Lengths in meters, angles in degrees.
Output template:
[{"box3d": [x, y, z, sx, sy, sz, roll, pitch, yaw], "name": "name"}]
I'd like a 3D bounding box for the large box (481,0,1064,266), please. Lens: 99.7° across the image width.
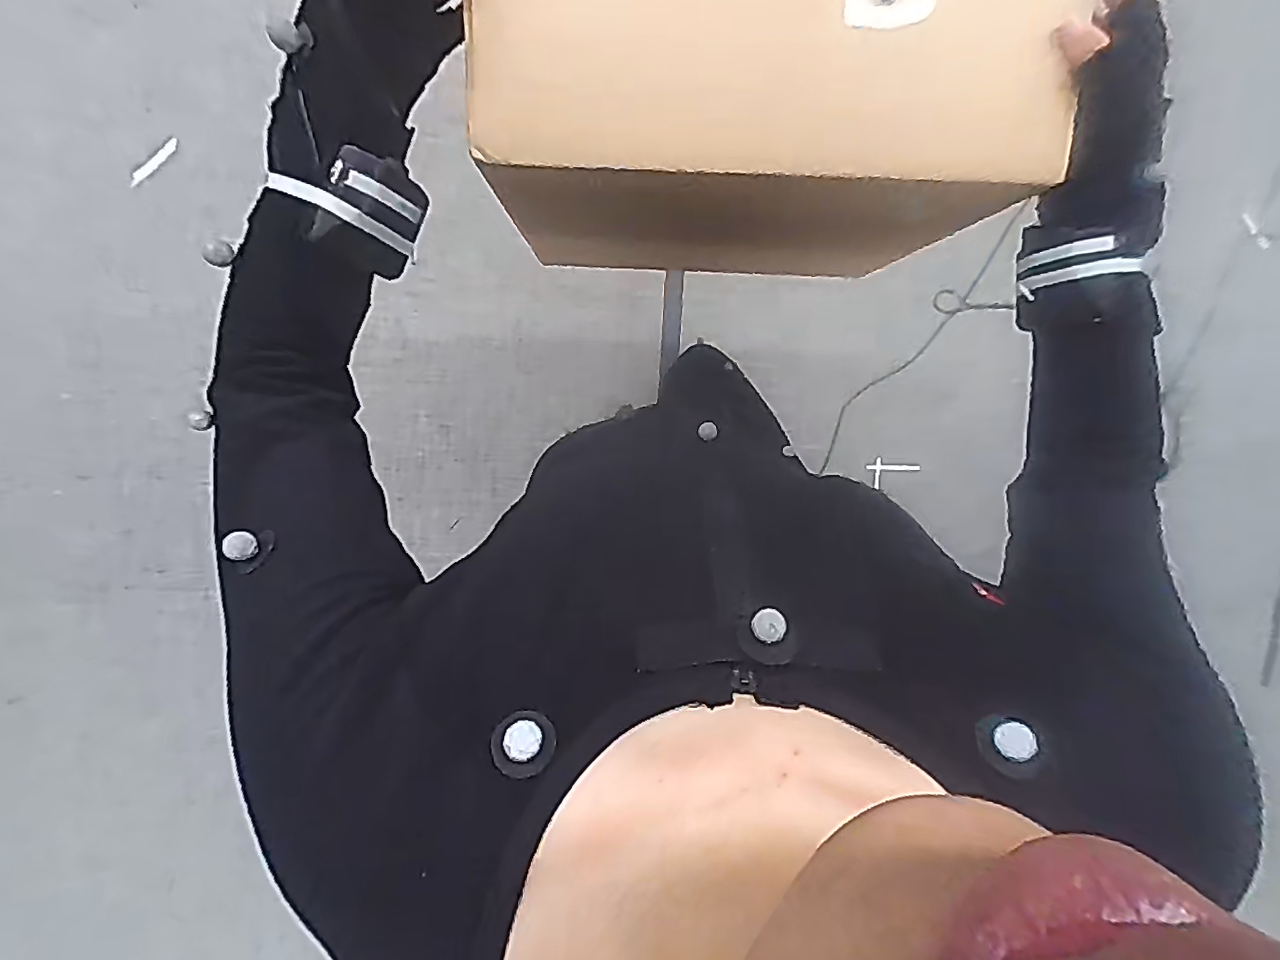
[{"box3d": [0.085, -0.395, 0.502, 0.408, 0.320, 0.320, 1, 100, -3], "name": "large box"}]
